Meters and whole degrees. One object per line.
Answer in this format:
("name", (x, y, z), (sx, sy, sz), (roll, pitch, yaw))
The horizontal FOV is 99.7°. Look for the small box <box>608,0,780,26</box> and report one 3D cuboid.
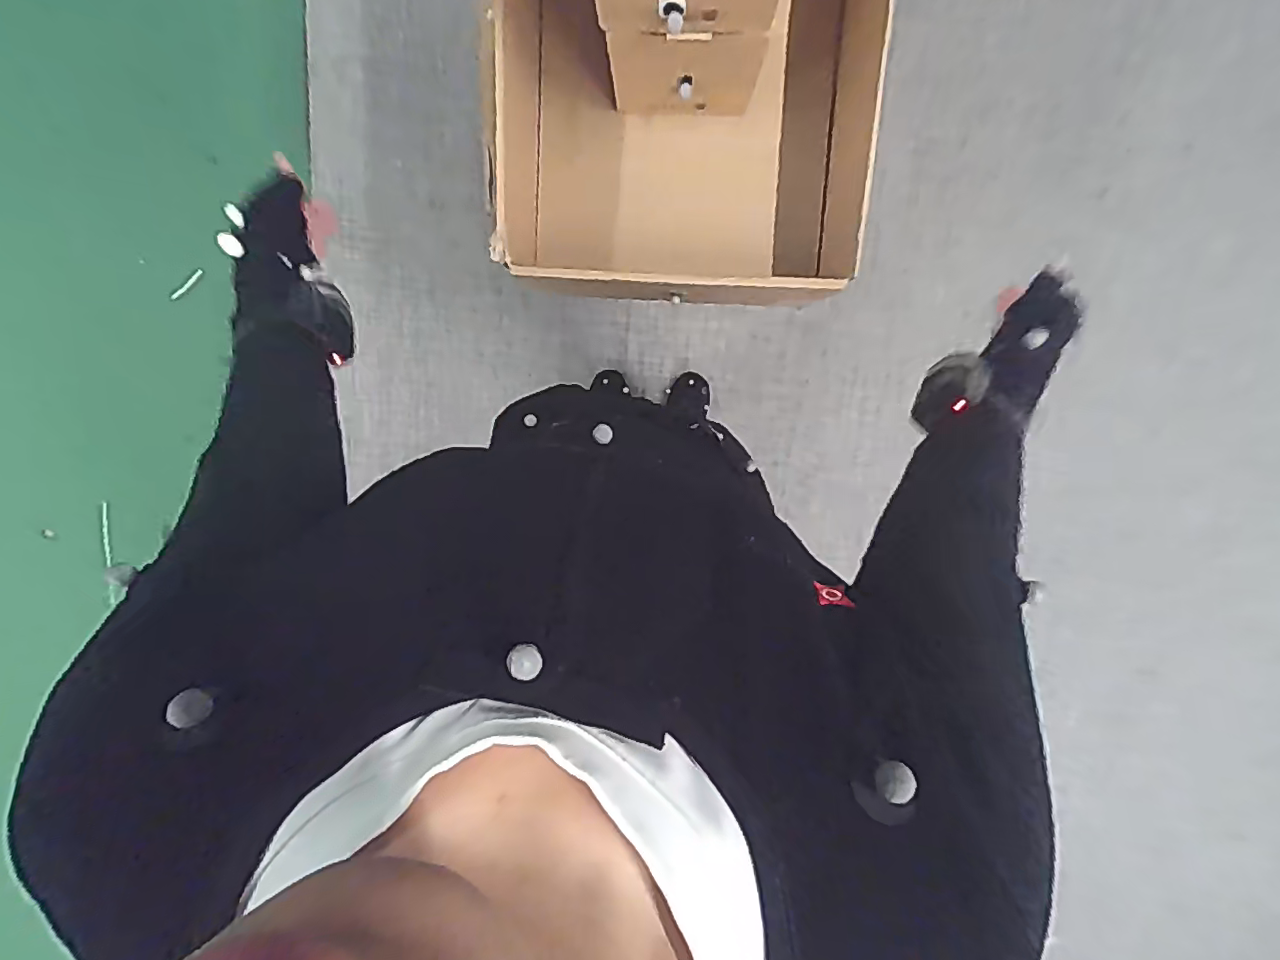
("small box", (0.046, -0.506, 0.423), (0.168, 0.176, 0.179), (1, 102, 3))
